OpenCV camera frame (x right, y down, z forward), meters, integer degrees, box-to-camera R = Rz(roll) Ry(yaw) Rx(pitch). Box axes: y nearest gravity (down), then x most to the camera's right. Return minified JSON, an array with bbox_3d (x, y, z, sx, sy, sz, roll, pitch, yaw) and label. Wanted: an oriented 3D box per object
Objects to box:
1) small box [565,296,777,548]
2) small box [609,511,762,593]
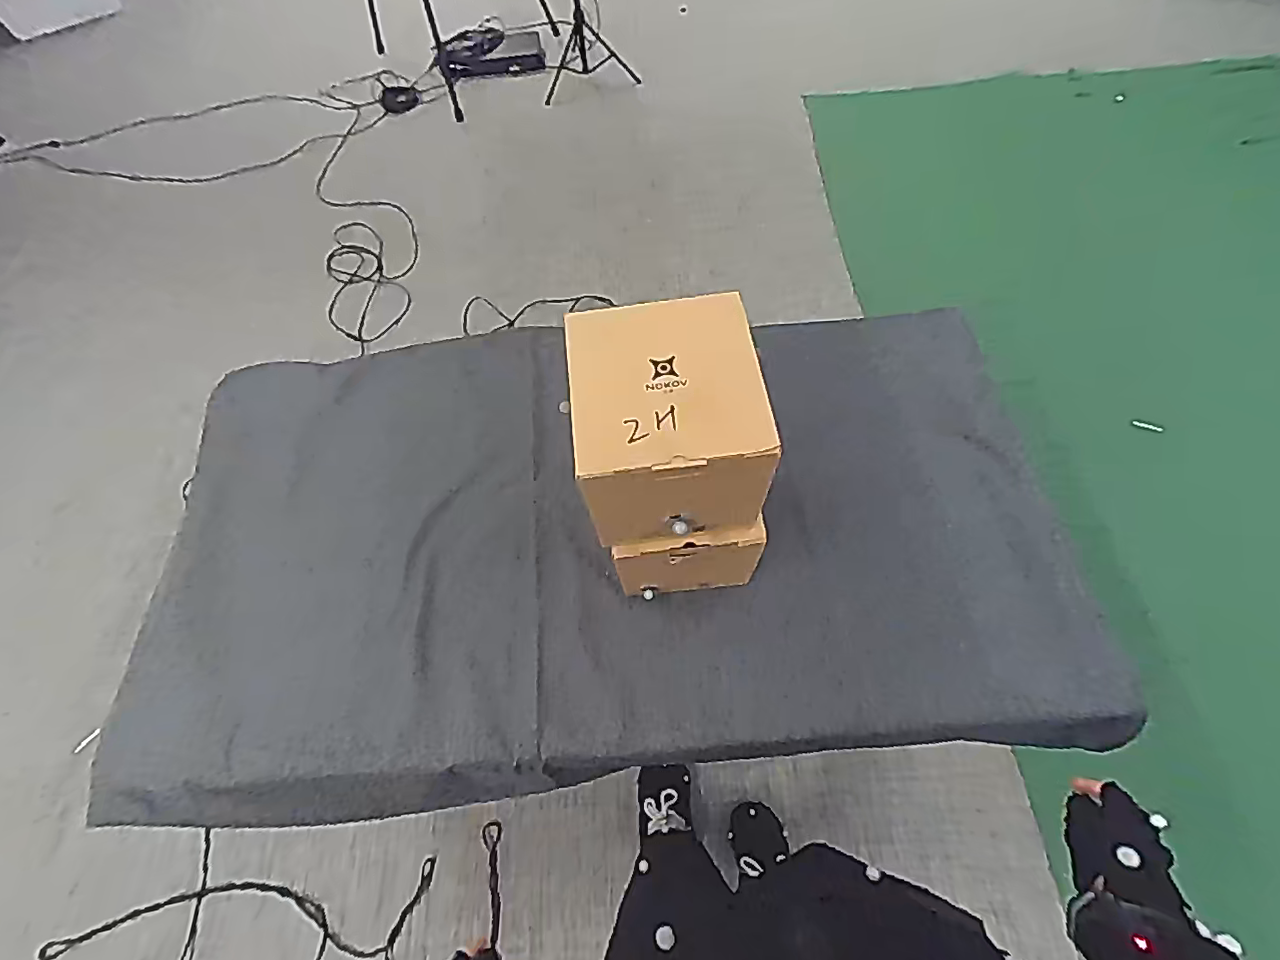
[{"bbox_3d":[0.024,-0.049,0.534,0.168,0.176,0.179,-8,64,1],"label":"small box"},{"bbox_3d":[0.048,0.036,0.674,0.168,0.176,0.179,-6,62,1],"label":"small box"}]
